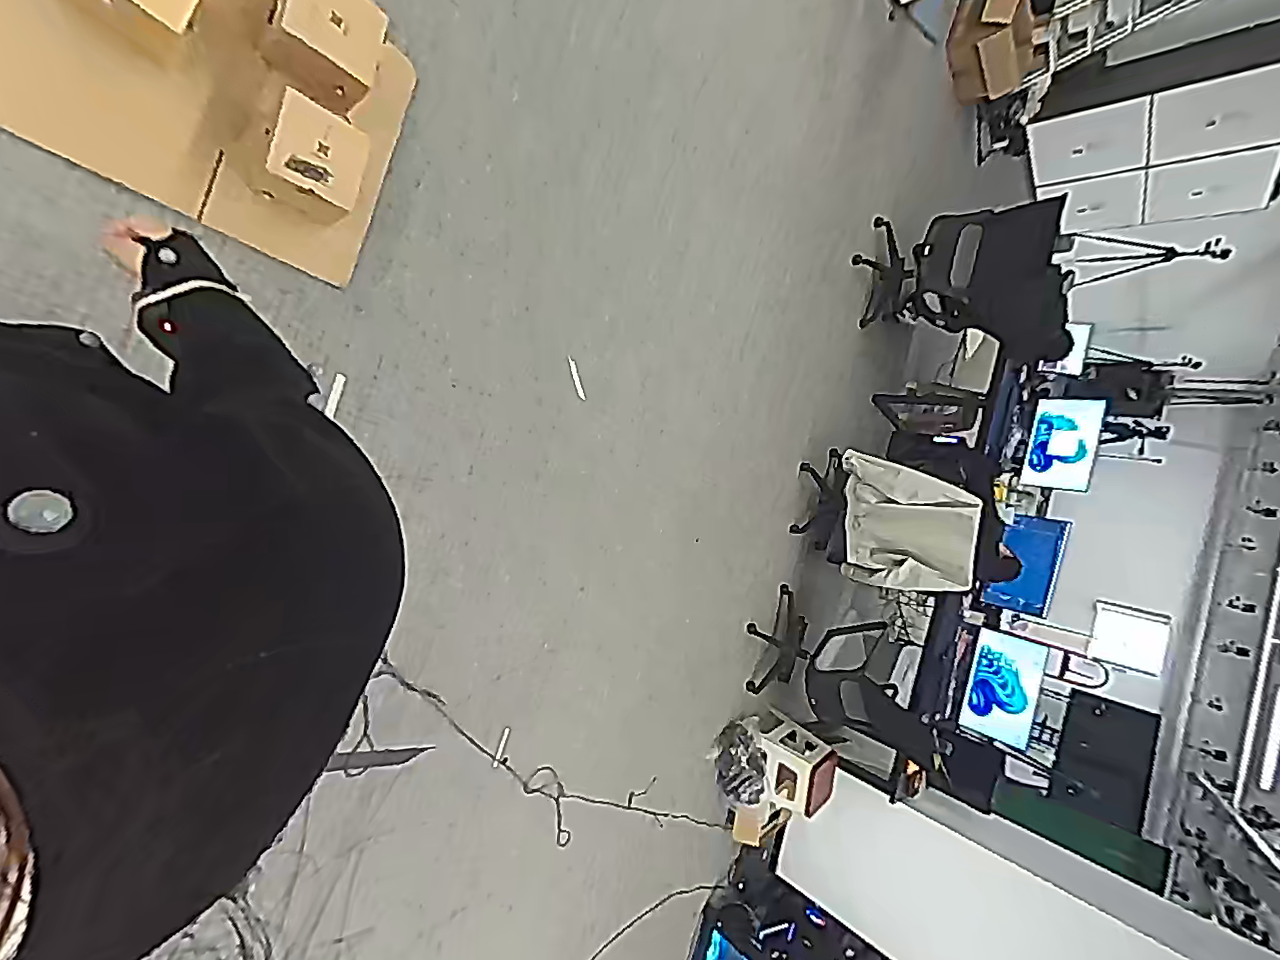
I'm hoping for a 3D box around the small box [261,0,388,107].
[{"bbox_3d":[-0.675,-0.941,1.154,0.179,0.176,0.168,13,88,-46],"label":"small box"}]

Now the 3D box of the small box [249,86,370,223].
[{"bbox_3d":[-0.716,-0.684,1.165,0.168,0.176,0.179,15,87,-47],"label":"small box"}]

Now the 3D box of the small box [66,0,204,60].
[{"bbox_3d":[-0.886,-0.884,0.942,0.179,0.176,0.168,26,80,-45],"label":"small box"}]
